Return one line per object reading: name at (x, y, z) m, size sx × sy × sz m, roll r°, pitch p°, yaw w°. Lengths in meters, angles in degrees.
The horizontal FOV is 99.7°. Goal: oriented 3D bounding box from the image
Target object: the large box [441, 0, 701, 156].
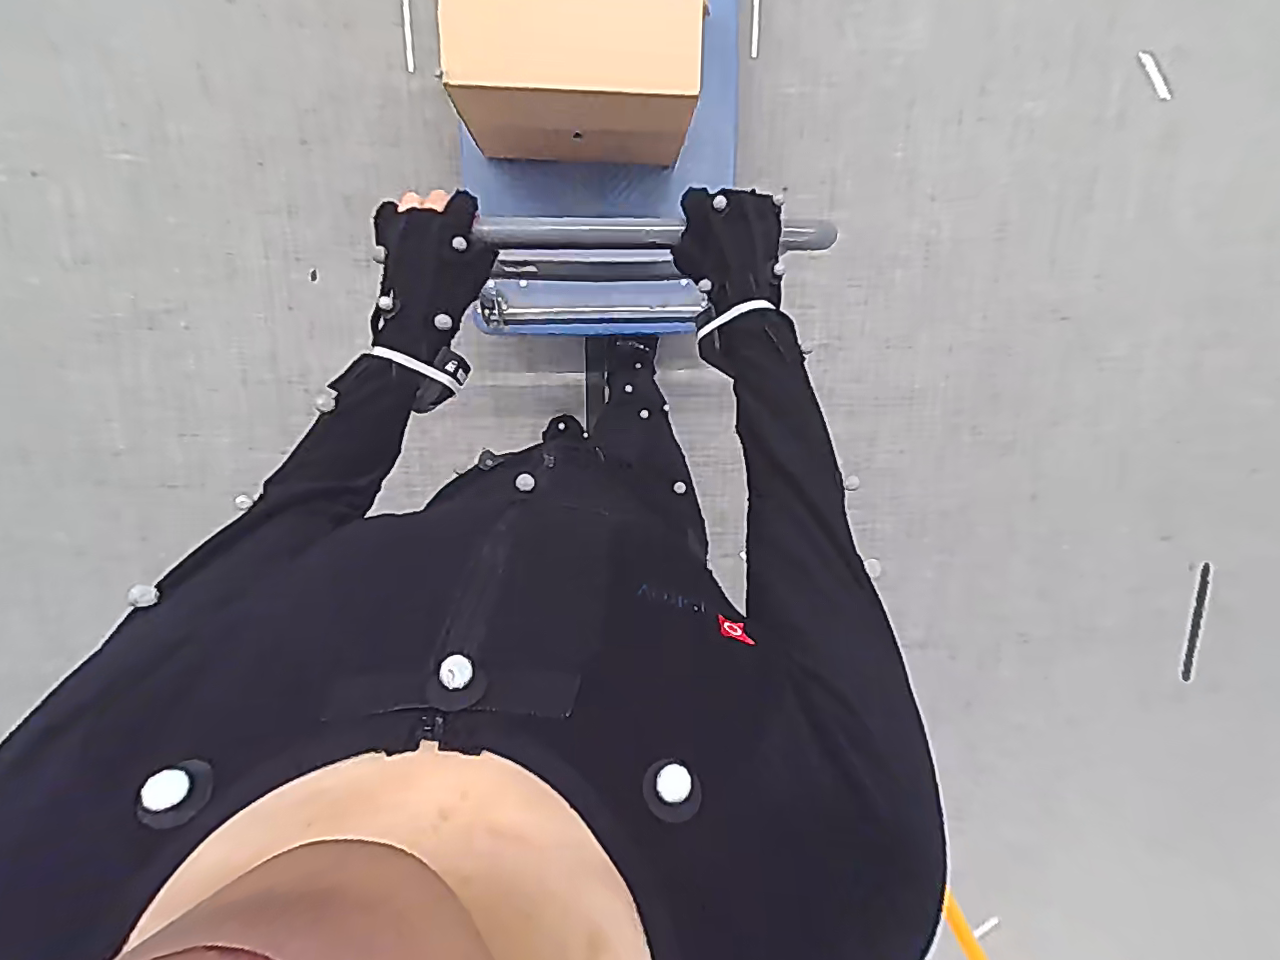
large box at (-0.110, -0.799, 0.962) m, size 0.408 × 0.320 × 0.320 m, roll 0°, pitch 102°, yaw -3°
